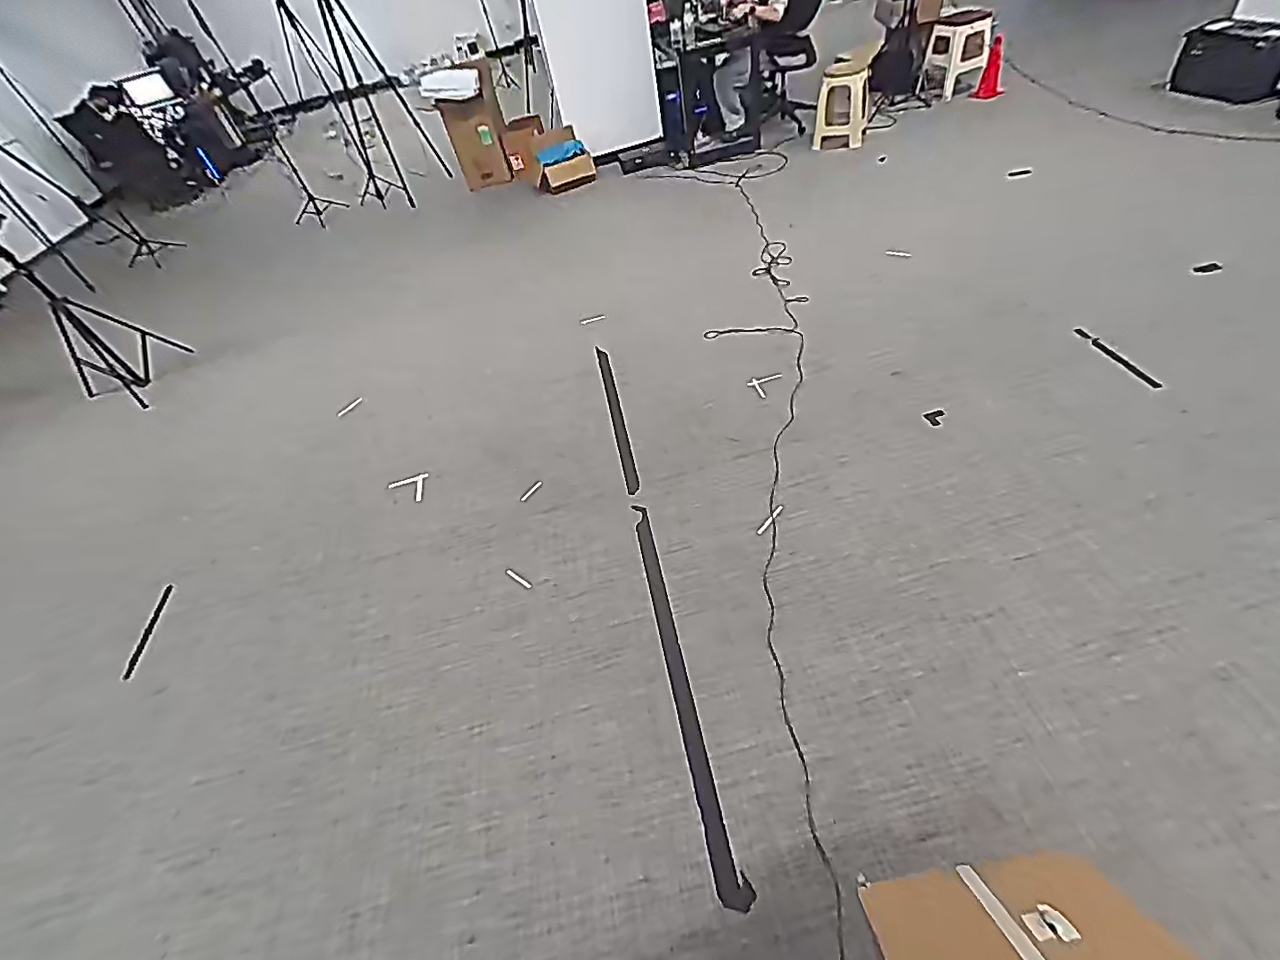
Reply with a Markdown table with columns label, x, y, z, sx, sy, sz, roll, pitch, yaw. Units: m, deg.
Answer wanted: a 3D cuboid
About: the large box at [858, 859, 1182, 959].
| label | x | y | z | sx | sy | sz | roll | pitch | yaw |
| --- | --- | --- | --- | --- | --- | --- | --- | --- | --- |
| large box | 0.488 | 0.710 | 0.583 | 0.320 | 0.408 | 0.320 | -13 | 82 | 5 |
